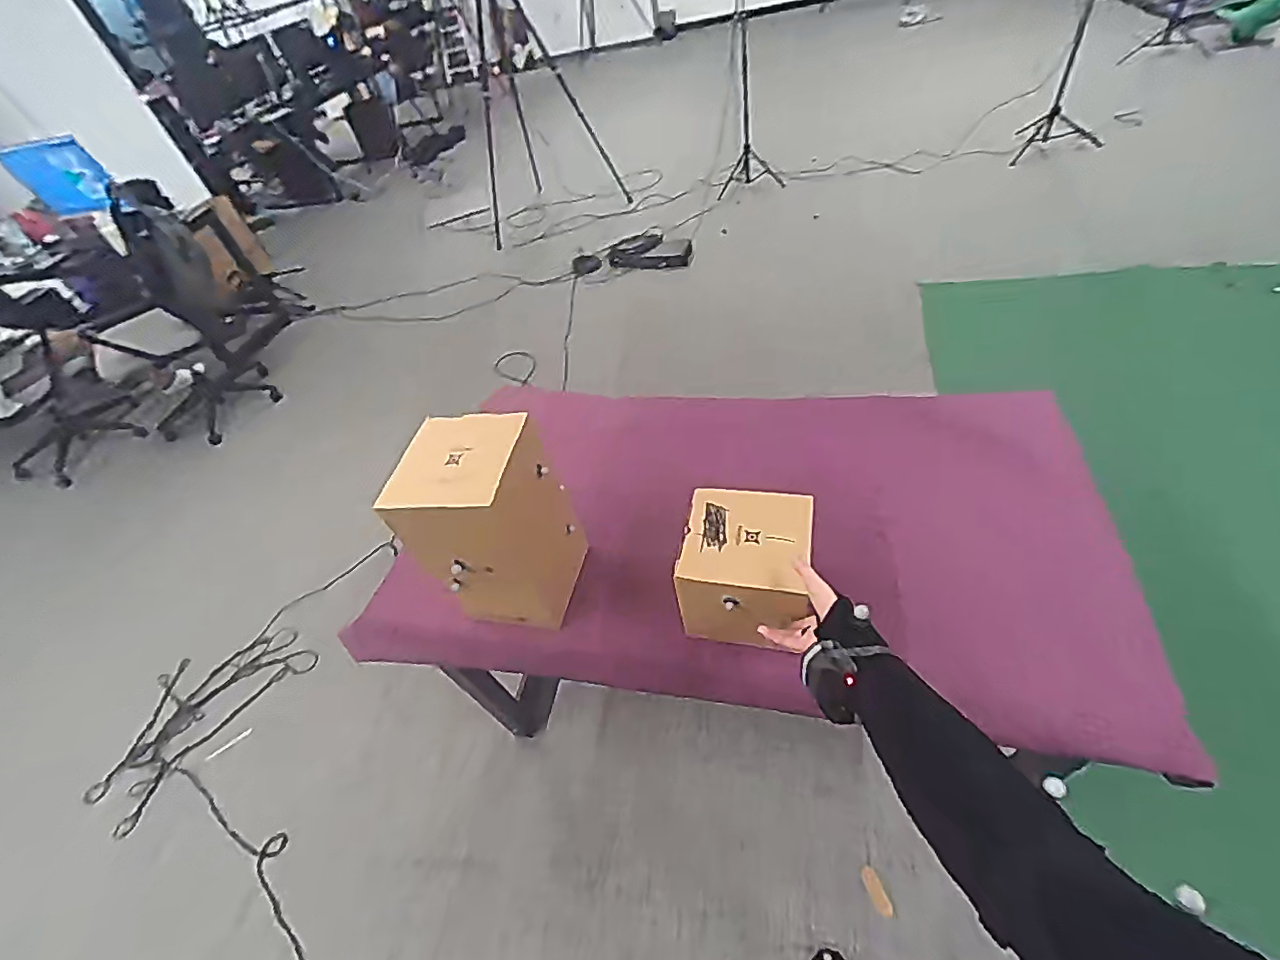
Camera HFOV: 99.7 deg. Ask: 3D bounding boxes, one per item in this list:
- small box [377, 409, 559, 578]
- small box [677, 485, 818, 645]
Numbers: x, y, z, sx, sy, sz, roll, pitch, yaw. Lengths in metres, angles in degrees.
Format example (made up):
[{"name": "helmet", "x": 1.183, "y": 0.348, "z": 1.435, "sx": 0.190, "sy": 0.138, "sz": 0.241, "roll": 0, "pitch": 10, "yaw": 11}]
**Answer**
[{"name": "small box", "x": -0.226, "y": 0.019, "z": 0.771, "sx": 0.168, "sy": 0.176, "sz": 0.179, "roll": -1, "pitch": 48, "yaw": 13}, {"name": "small box", "x": 0.164, "y": 0.127, "z": 0.803, "sx": 0.179, "sy": 0.176, "sz": 0.168, "roll": 5, "pitch": 49, "yaw": 16}]
